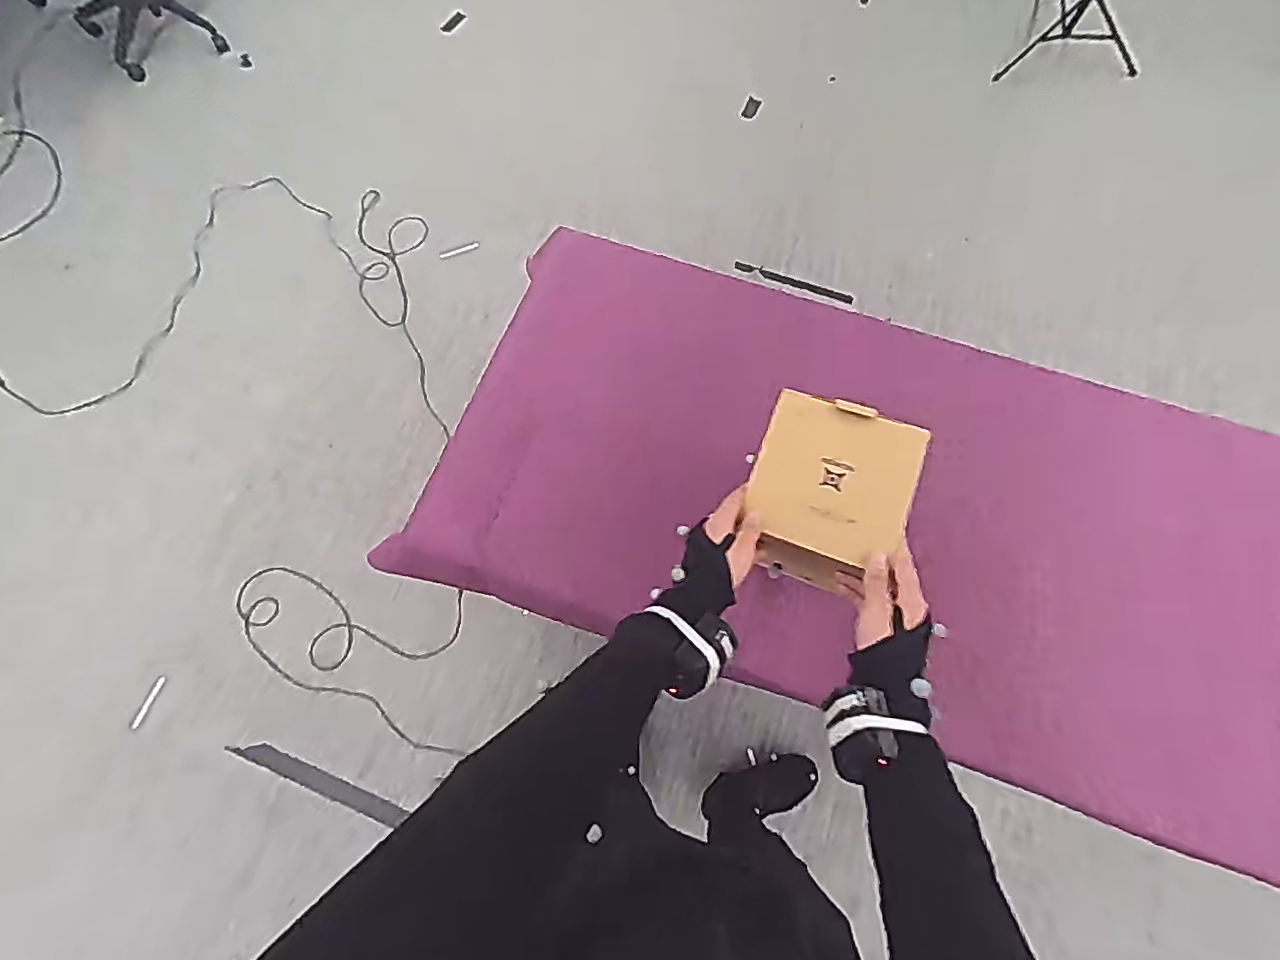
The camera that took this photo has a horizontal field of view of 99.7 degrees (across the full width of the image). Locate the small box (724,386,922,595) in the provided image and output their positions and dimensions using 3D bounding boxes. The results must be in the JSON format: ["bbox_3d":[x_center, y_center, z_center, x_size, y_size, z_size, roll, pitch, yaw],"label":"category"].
[{"bbox_3d":[0.205,0.021,0.651,0.168,0.176,0.179,20,74,13],"label":"small box"}]
